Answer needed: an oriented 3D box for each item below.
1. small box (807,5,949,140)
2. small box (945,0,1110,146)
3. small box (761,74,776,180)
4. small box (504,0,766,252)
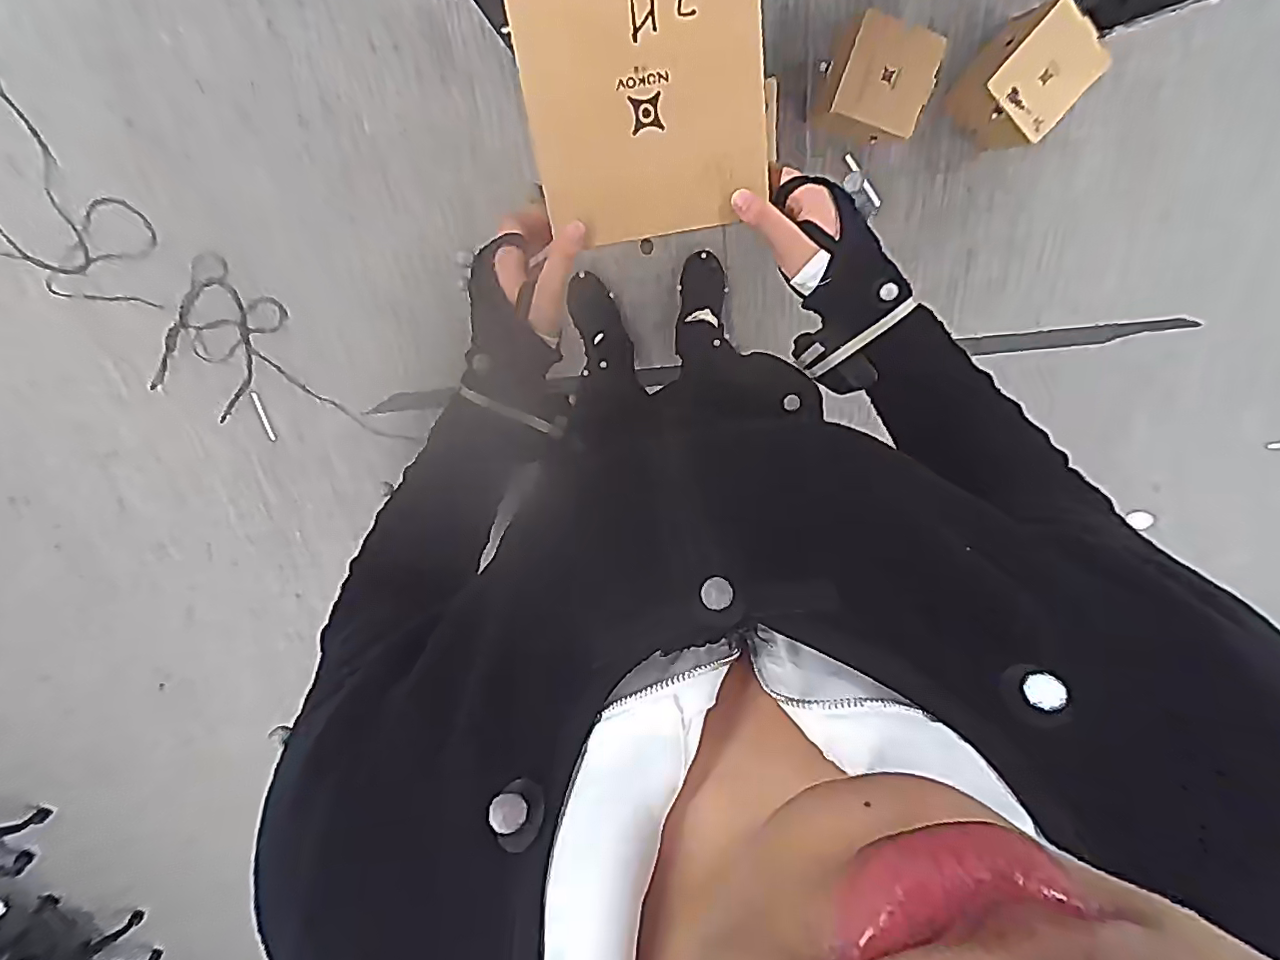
[{"bbox_3d":[0.468,-0.807,1.094,0.179,0.176,0.168,13,115,-7],"label":"small box"},{"bbox_3d":[0.771,-0.816,1.094,0.168,0.176,0.179,34,111,-17],"label":"small box"},{"bbox_3d":[0.182,-0.718,1.130,0.168,0.176,0.179,-6,119,2],"label":"small box"},{"bbox_3d":[-0.002,-0.297,0.443,0.168,0.176,0.179,-10,116,0],"label":"small box"}]
